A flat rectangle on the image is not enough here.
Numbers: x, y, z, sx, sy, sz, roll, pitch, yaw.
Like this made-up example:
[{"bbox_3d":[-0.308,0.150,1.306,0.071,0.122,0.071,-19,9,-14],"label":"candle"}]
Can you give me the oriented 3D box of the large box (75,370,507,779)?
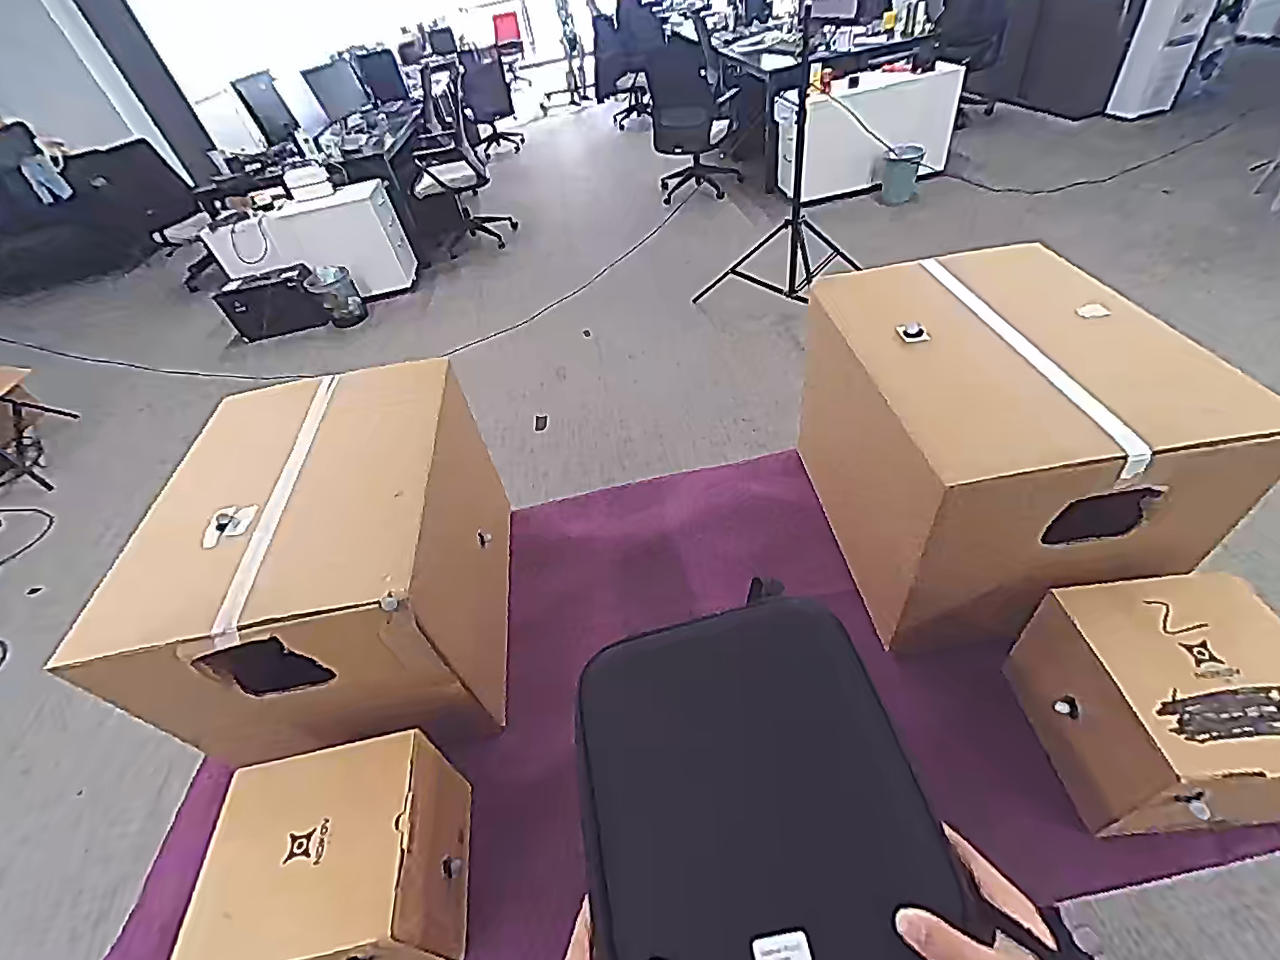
[{"bbox_3d":[-0.369,0.114,0.723,0.320,0.320,0.408,-12,46,-2],"label":"large box"}]
